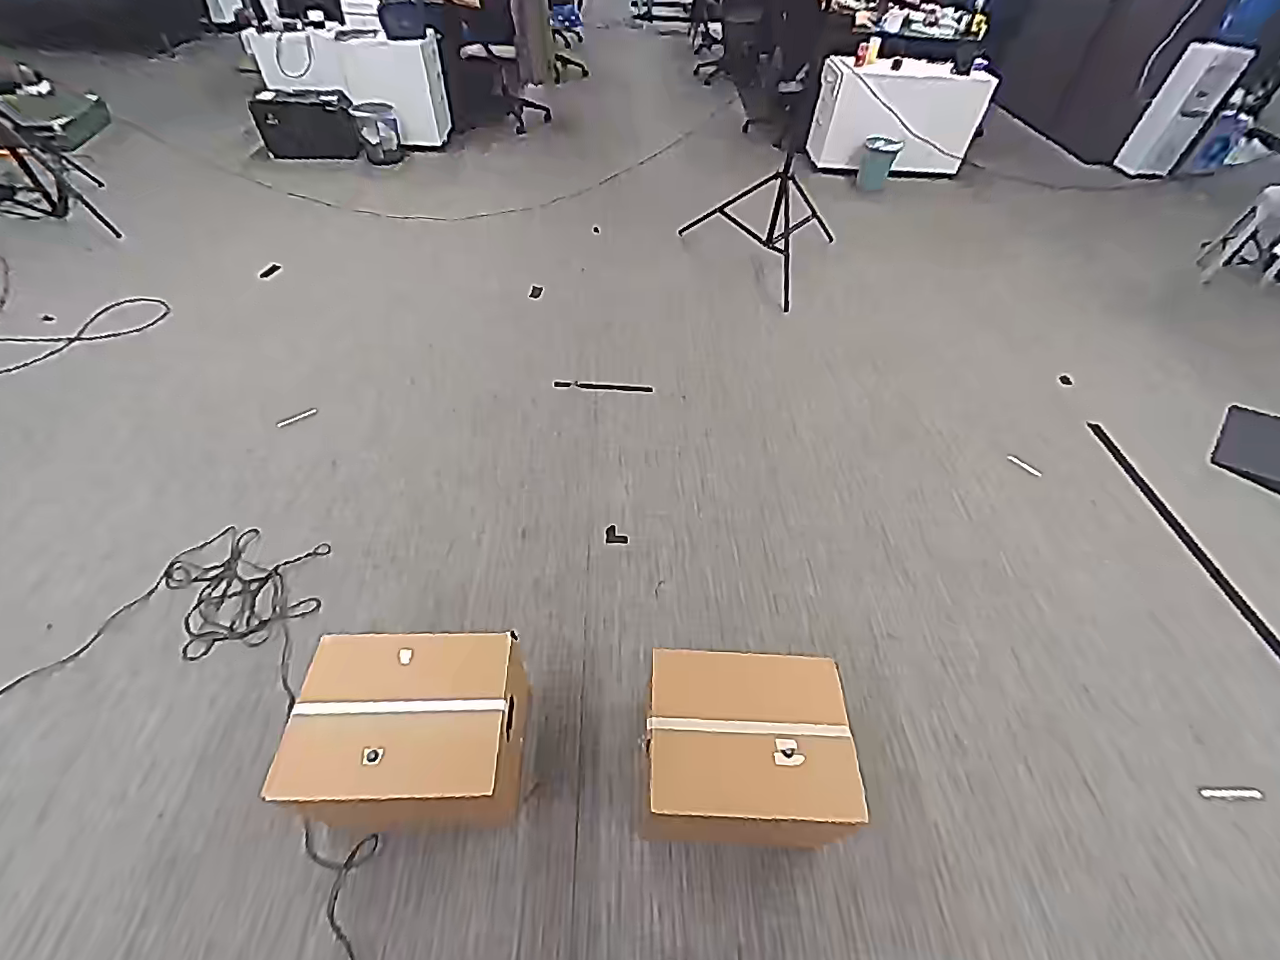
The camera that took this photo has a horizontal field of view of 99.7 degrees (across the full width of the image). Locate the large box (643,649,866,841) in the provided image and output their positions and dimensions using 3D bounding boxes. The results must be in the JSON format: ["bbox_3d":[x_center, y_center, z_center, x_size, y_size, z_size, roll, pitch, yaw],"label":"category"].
[{"bbox_3d":[0.216,0.594,1.202,0.408,0.320,0.320,4,49,-2],"label":"large box"}]
